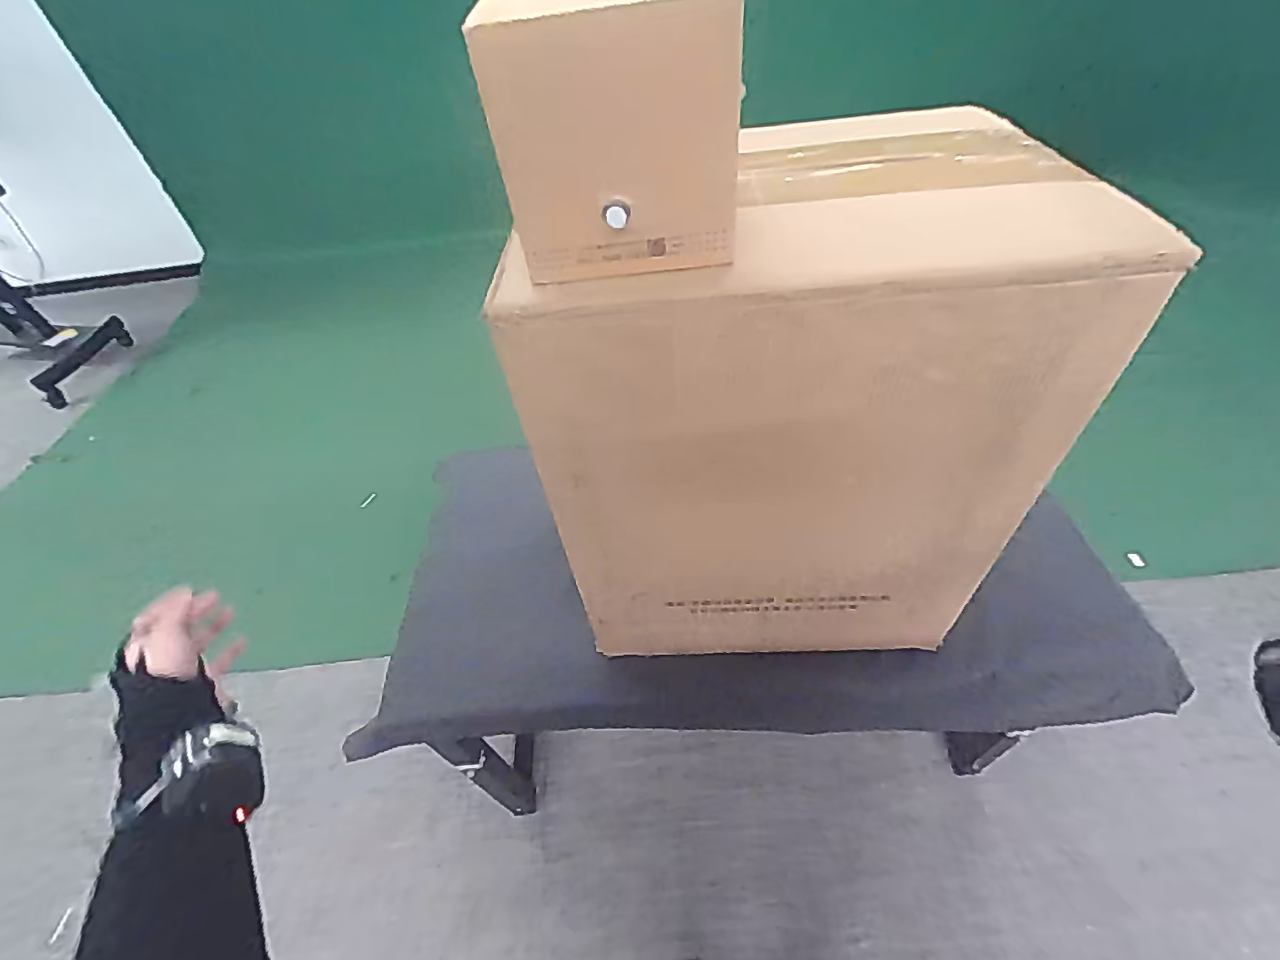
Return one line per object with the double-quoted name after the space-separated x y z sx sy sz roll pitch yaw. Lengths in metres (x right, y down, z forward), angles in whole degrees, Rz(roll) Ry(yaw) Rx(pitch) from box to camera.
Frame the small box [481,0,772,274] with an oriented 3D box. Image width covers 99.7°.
0.001 -0.279 0.411 0.168 0.176 0.179 -2 50 6 "small box"
